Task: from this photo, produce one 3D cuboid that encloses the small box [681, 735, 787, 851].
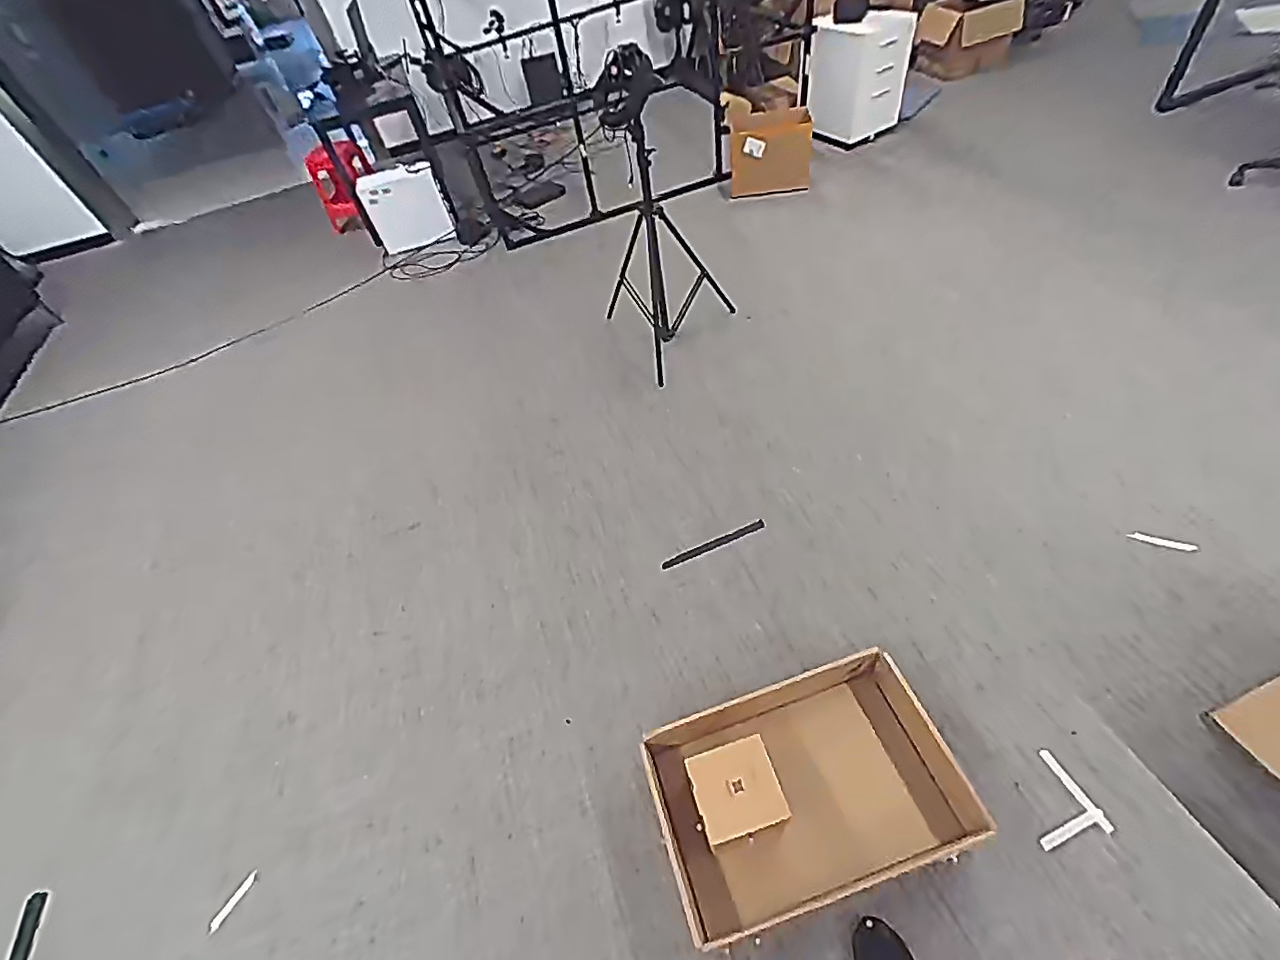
[{"bbox_3d":[0.203,0.692,1.189,0.179,0.176,0.168,-17,52,-6],"label":"small box"}]
